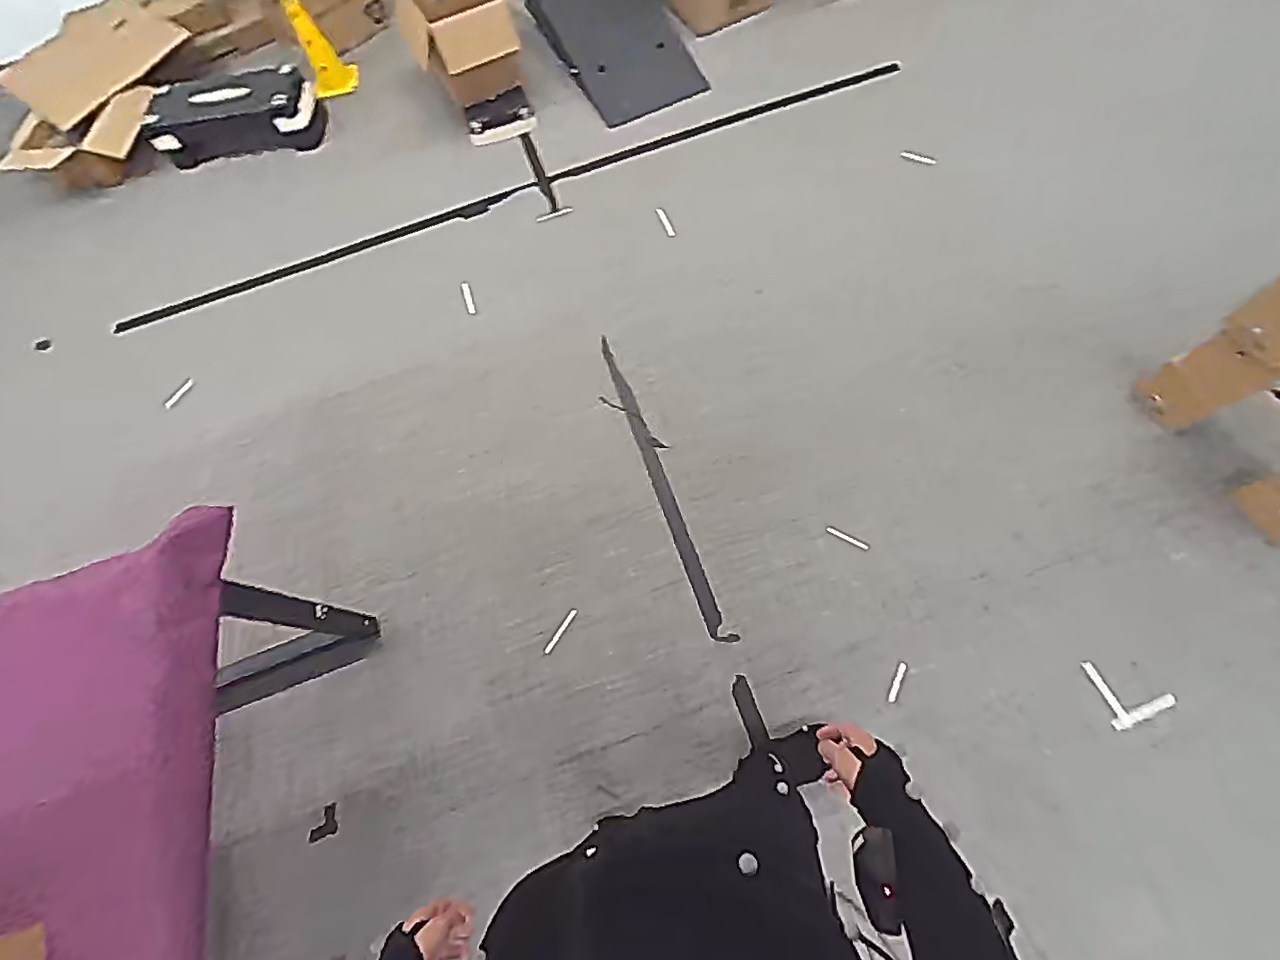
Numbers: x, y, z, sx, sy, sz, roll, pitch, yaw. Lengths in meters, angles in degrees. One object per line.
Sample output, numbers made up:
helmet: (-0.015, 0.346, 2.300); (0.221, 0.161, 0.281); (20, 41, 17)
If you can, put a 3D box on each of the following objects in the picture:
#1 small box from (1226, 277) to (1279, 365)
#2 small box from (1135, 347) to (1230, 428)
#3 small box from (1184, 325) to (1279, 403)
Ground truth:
small box: (1.555, -0.399, 1.253); (0.179, 0.176, 0.168); (-22, 66, -3)
small box: (1.604, -0.279, 1.554); (0.179, 0.176, 0.168); (-24, 67, -4)
small box: (1.598, -0.331, 1.399); (0.168, 0.176, 0.179); (-25, 67, -5)
